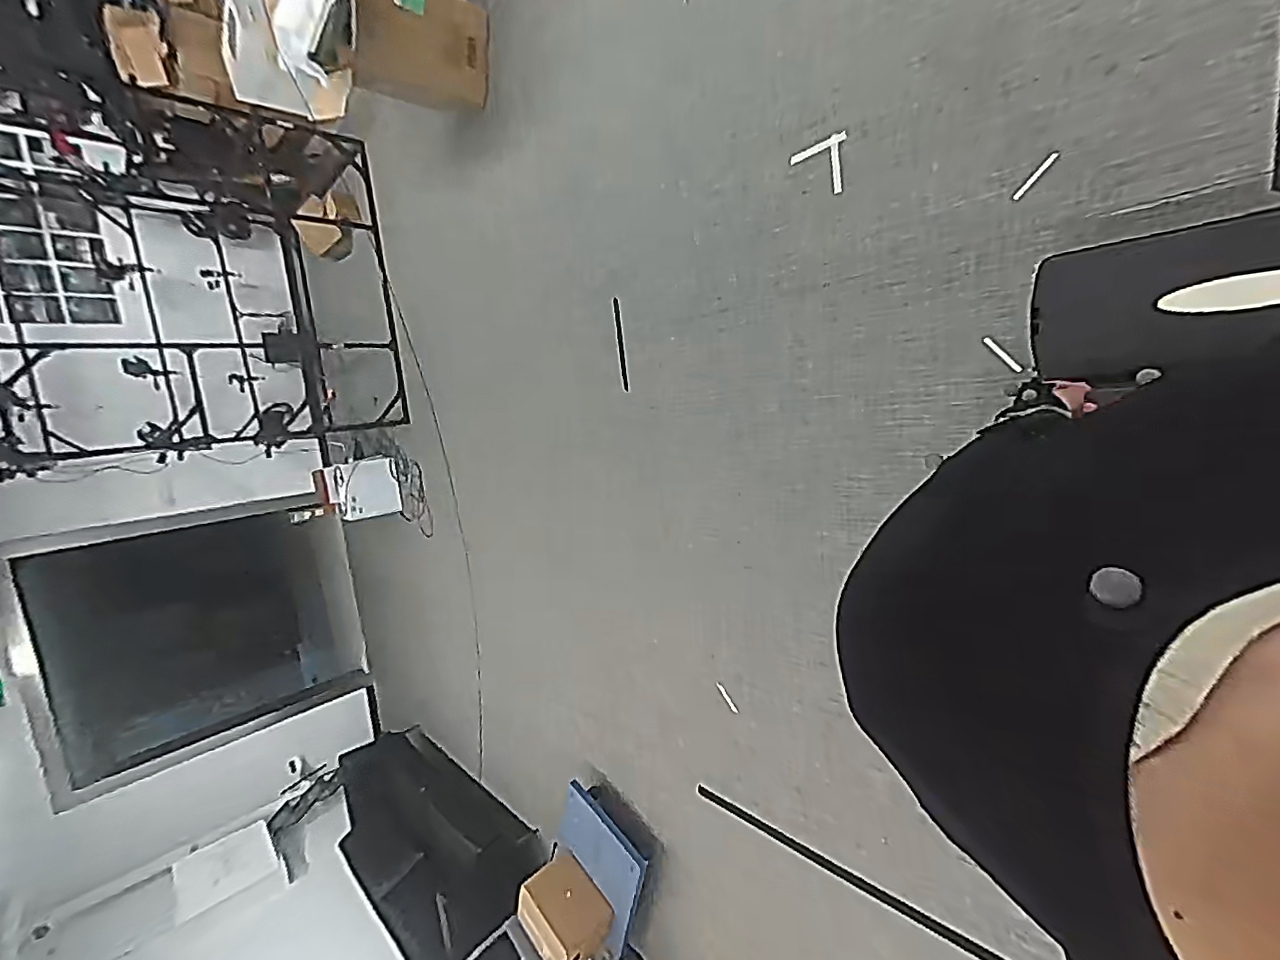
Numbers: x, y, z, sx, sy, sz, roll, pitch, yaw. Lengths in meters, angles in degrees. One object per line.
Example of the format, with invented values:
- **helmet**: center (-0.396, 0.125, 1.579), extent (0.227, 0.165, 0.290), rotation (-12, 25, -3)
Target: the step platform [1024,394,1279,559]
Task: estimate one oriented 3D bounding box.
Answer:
- **step platform**: center (1.135, -0.014, 1.007), extent (0.684, 0.204, 0.286), rotation (10, 105, 47)
